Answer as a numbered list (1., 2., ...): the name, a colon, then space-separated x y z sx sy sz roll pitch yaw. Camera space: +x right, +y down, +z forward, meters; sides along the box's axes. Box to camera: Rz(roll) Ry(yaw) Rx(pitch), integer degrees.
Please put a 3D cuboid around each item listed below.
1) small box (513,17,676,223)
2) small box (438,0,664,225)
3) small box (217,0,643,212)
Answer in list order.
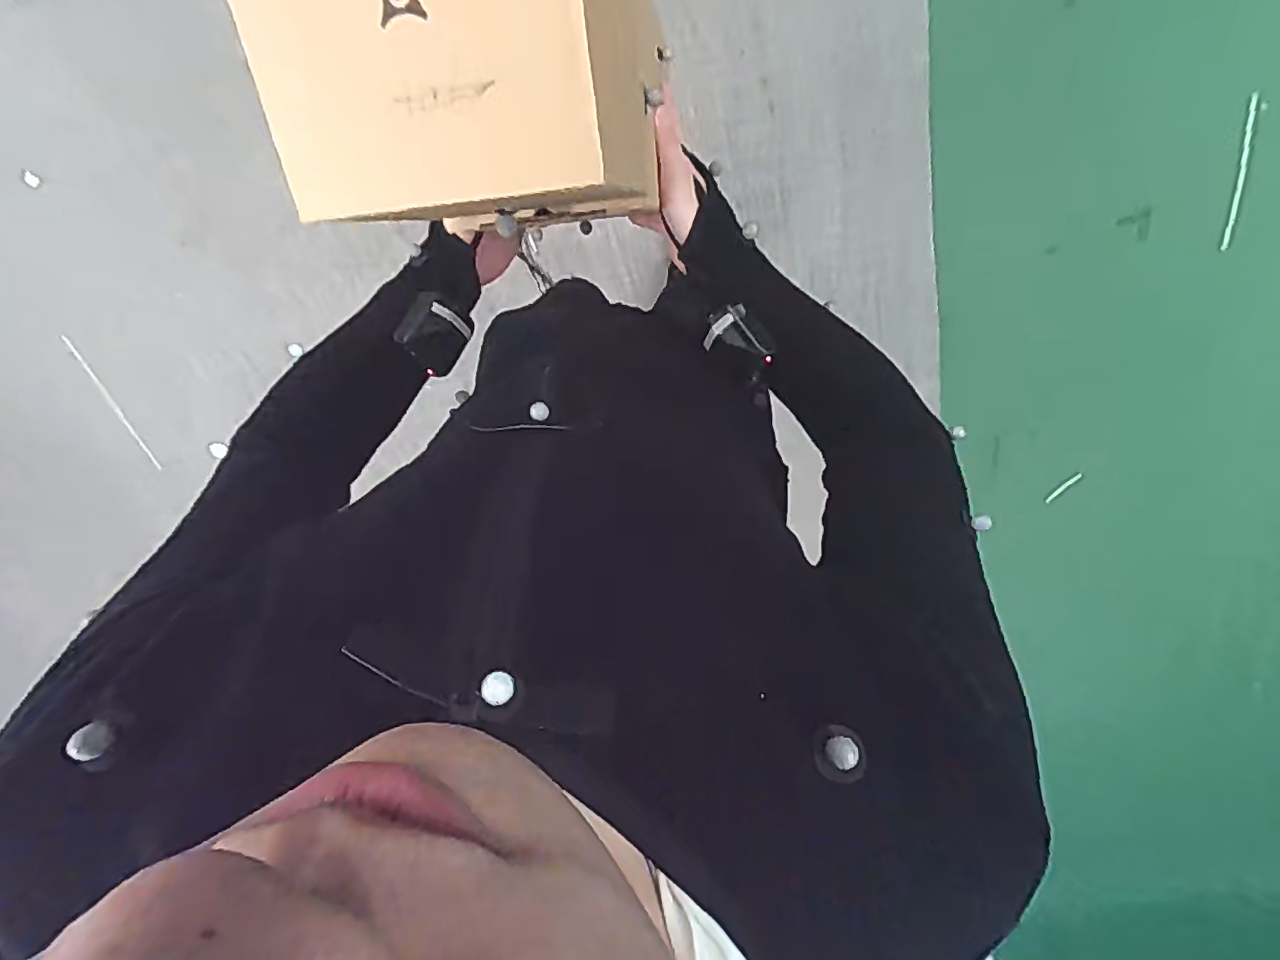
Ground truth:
1. small box: -0.053 -0.389 0.593 0.168 0.176 0.179 -3 116 10
2. small box: -0.075 -0.317 0.446 0.168 0.176 0.179 -3 115 10
3. small box: -0.096 -0.252 0.298 0.168 0.176 0.179 -2 116 10
